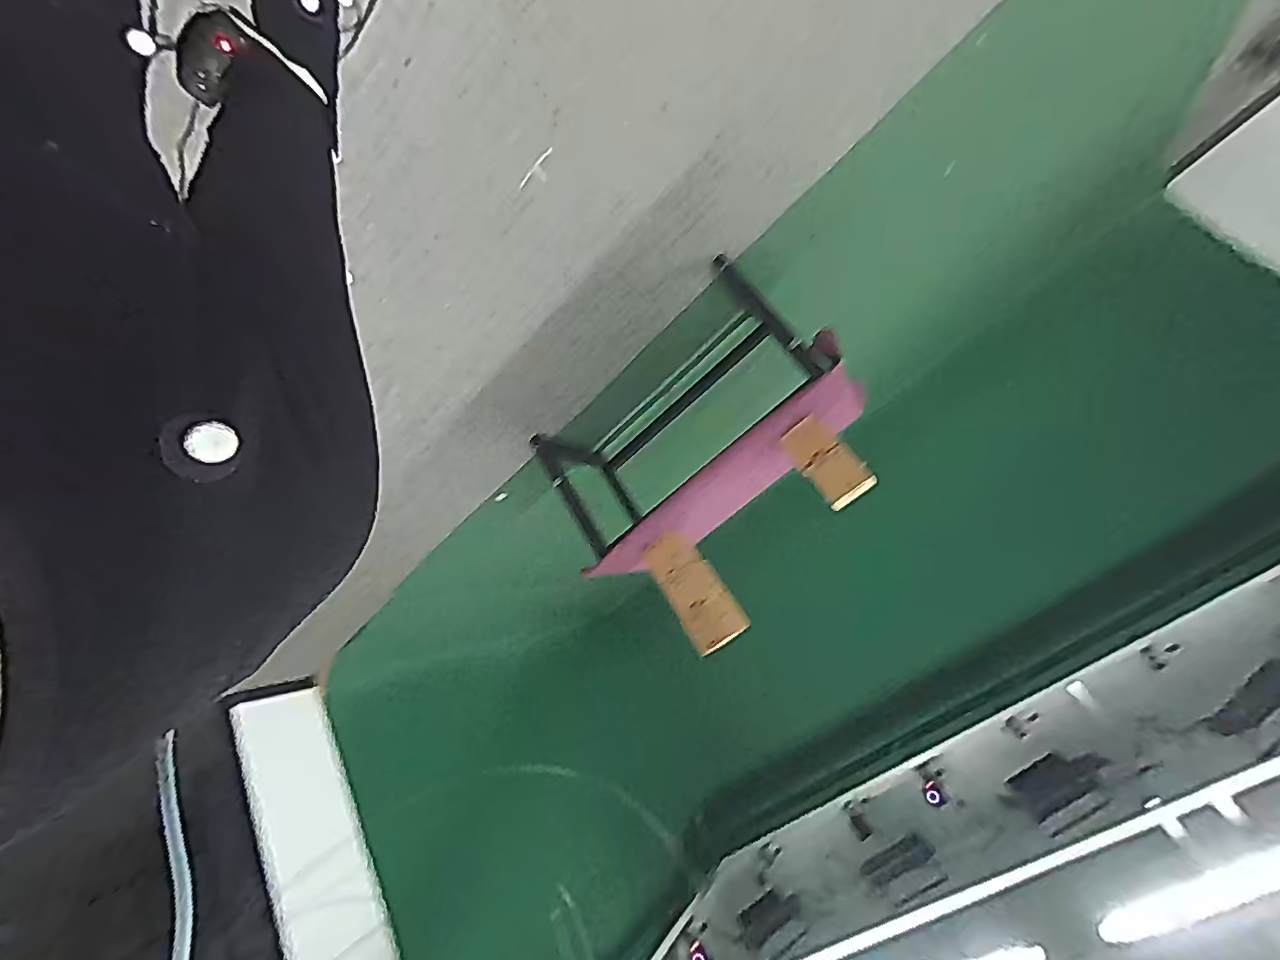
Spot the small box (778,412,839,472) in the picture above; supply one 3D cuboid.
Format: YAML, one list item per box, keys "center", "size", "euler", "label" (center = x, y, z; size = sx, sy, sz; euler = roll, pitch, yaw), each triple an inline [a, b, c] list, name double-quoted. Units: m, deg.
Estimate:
- center: [0.674, -0.147, 2.133]
  size: [0.168, 0.176, 0.179]
  euler: [-41, 155, 21]
  label: "small box"

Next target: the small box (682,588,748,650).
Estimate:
- center: [0.307, 0.574, 2.251]
  size: [0.179, 0.176, 0.168]
  euler: [-5, 146, -51]
  label: "small box"

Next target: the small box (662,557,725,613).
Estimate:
- center: [0.228, 0.443, 2.309]
  size: [0.168, 0.176, 0.179]
  euler: [-43, 156, 21]
  label: "small box"

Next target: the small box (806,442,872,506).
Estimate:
- center: [0.754, -0.026, 2.054]
  size: [0.168, 0.176, 0.179]
  euler: [-39, 157, 16]
  label: "small box"
